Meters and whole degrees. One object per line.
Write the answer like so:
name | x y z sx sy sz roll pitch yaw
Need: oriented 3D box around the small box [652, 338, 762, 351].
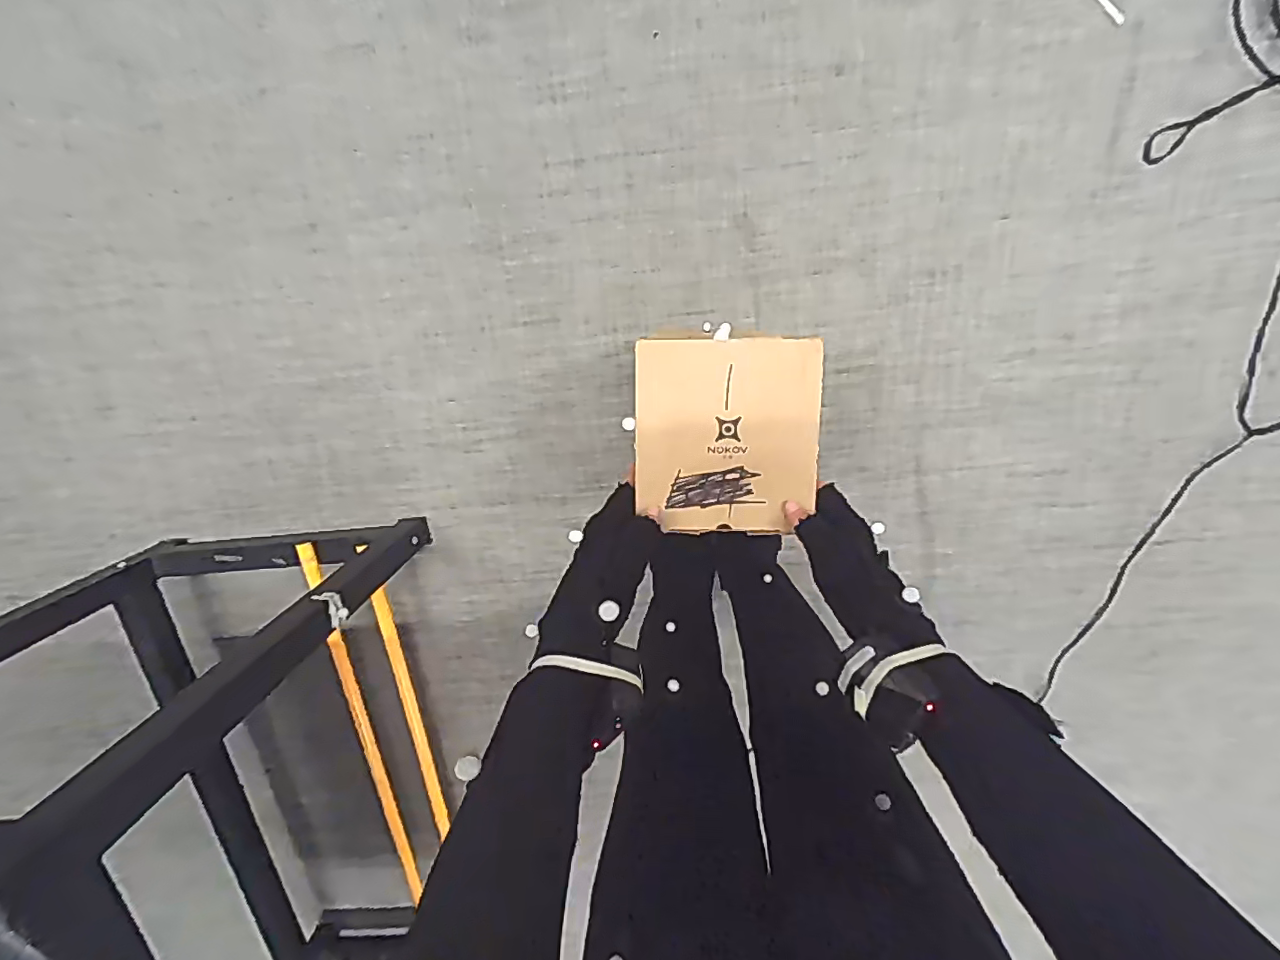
small box | 0.101 -0.143 0.893 0.168 0.176 0.179 1 108 4

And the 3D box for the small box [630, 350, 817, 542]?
small box | 0.077 -0.042 0.569 0.168 0.176 0.179 0 99 2
